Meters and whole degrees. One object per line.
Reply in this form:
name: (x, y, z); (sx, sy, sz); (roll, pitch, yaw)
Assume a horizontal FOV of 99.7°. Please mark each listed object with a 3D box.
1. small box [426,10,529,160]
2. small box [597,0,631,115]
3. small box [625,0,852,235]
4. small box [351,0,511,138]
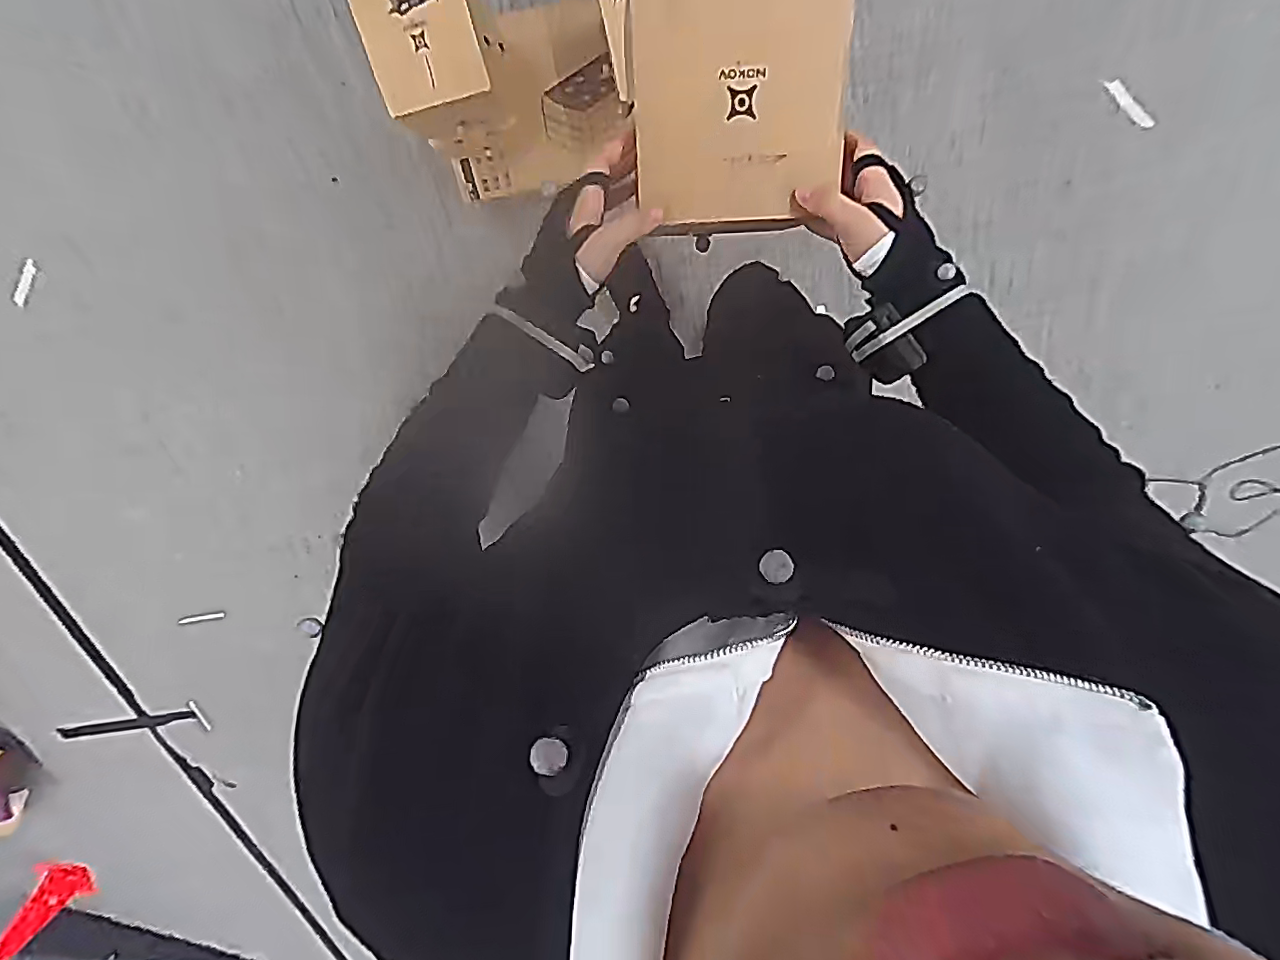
small box: (-0.319, -0.727, 1.016); (0.168, 0.176, 0.179); (-11, 113, 4)
small box: (0.024, -0.795, 0.995); (0.168, 0.176, 0.179); (-11, 114, 6)
small box: (0.073, -0.326, 0.489); (0.168, 0.176, 0.179); (-3, 111, -1)
small box: (-0.321, -0.675, 0.860); (0.168, 0.176, 0.179); (-13, 113, 4)
